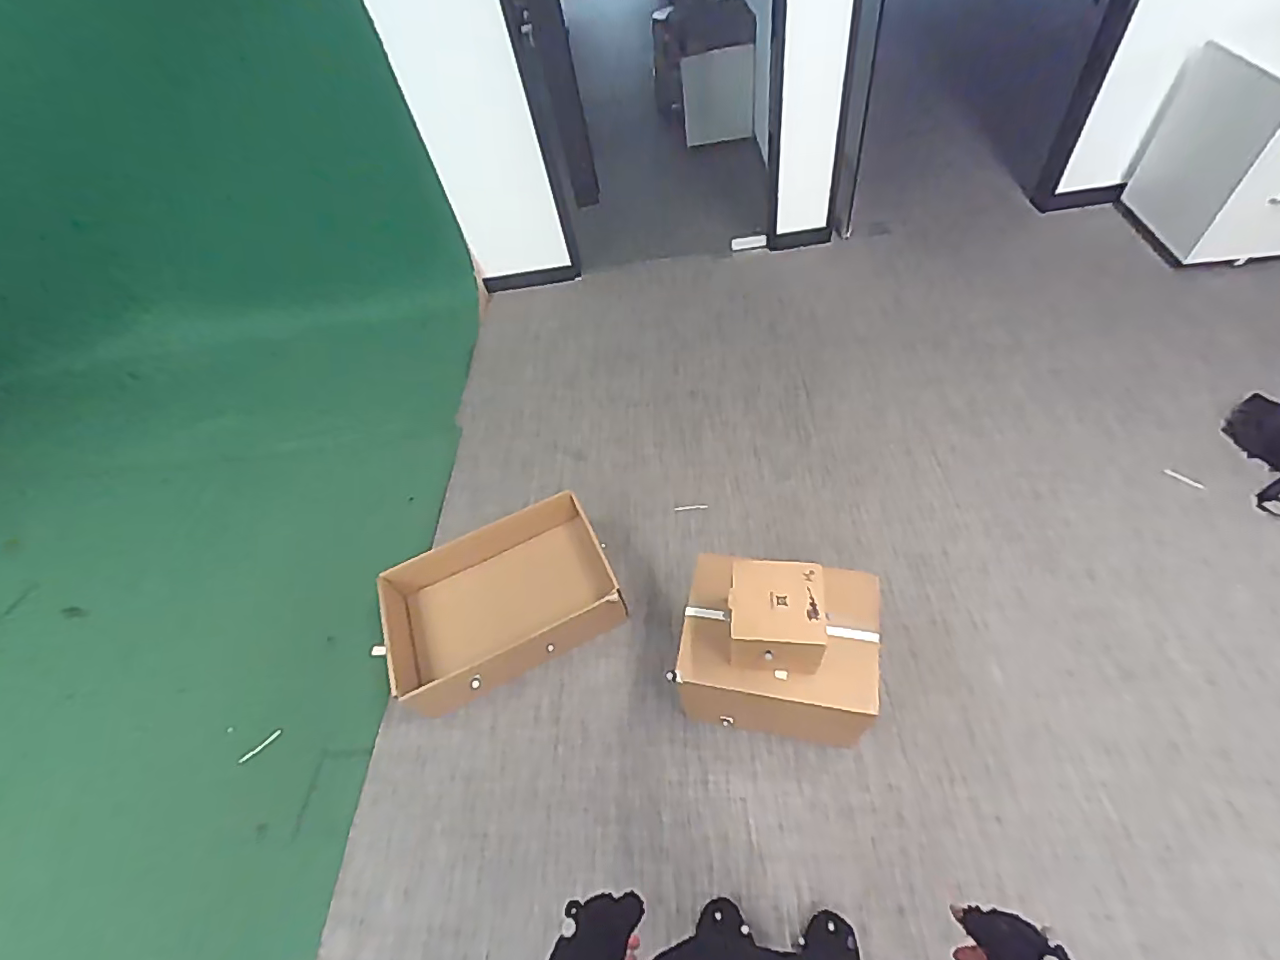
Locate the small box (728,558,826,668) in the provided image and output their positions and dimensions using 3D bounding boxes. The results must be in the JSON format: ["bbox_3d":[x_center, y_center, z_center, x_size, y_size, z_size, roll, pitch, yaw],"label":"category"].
[{"bbox_3d":[0.273,0.271,1.093,0.179,0.176,0.168,0,54,12],"label":"small box"}]
